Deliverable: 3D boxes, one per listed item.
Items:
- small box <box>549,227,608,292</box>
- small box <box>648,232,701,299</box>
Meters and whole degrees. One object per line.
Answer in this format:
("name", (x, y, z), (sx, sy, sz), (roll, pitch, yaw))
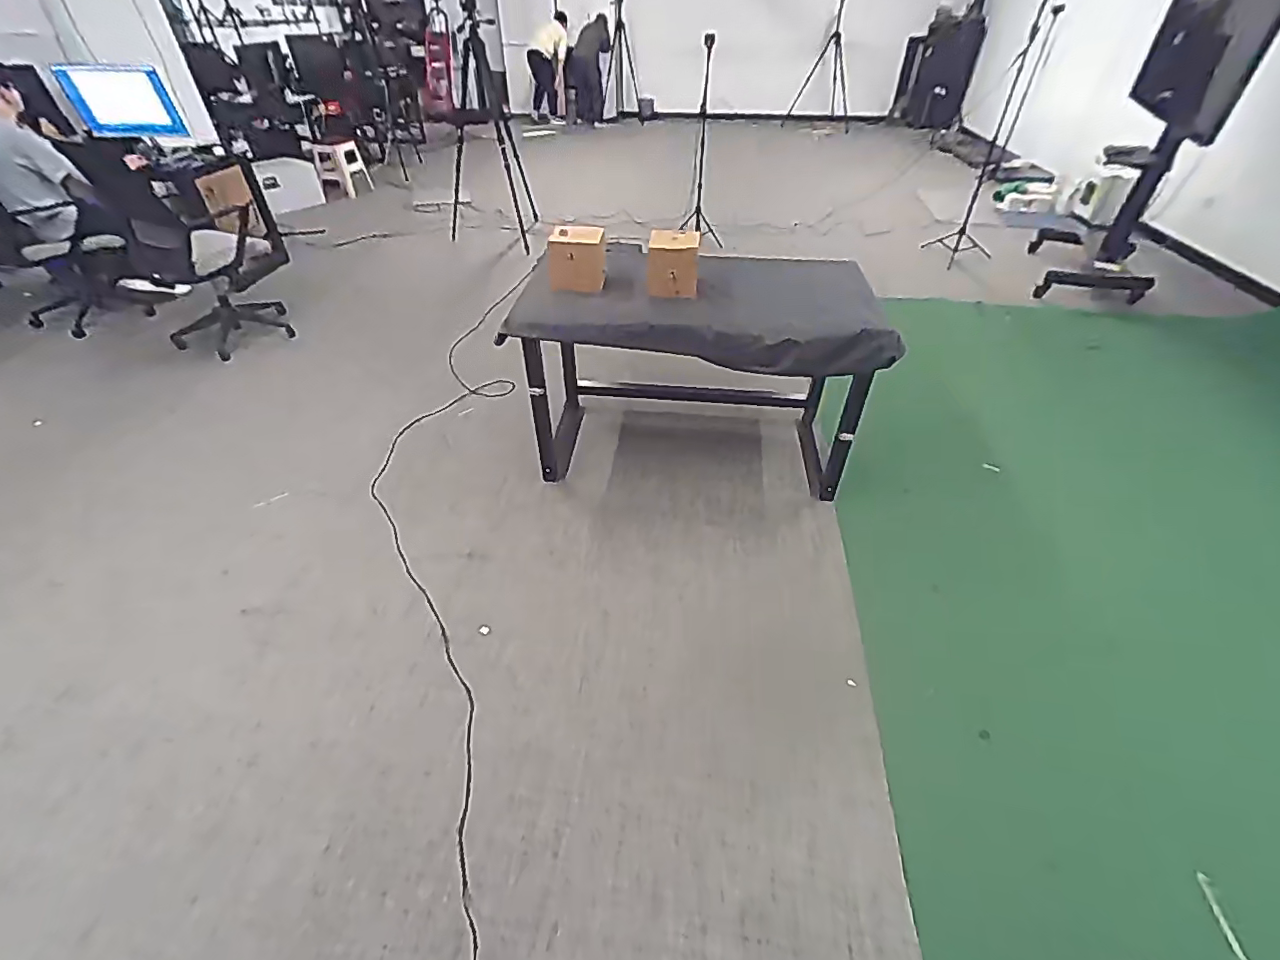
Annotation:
("small box", (-0.209, -0.766, 1.882), (0.179, 0.176, 0.168), (4, 42, 2))
("small box", (0.119, -0.735, 1.852), (0.168, 0.176, 0.179), (5, 42, 5))
